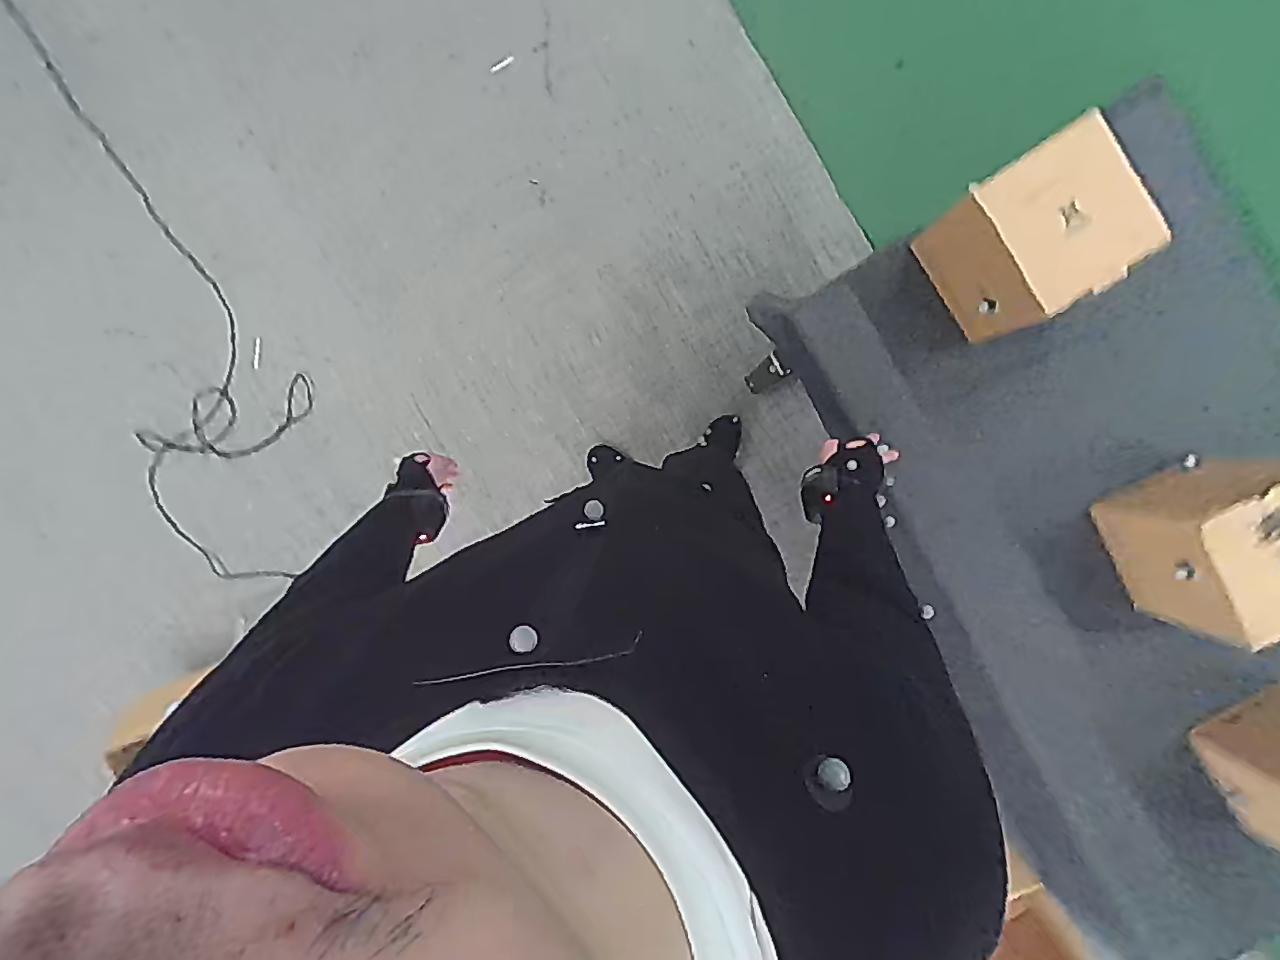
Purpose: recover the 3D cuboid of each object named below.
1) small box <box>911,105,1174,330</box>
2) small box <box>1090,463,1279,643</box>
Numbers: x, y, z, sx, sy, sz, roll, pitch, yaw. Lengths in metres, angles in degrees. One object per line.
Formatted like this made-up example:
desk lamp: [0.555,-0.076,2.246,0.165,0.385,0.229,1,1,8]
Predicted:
small box: [0.492,-0.311,0.691,0.168,0.176,0.179,-34,91,4]
small box: [0.759,0.083,0.718,0.168,0.176,0.179,-23,93,7]
